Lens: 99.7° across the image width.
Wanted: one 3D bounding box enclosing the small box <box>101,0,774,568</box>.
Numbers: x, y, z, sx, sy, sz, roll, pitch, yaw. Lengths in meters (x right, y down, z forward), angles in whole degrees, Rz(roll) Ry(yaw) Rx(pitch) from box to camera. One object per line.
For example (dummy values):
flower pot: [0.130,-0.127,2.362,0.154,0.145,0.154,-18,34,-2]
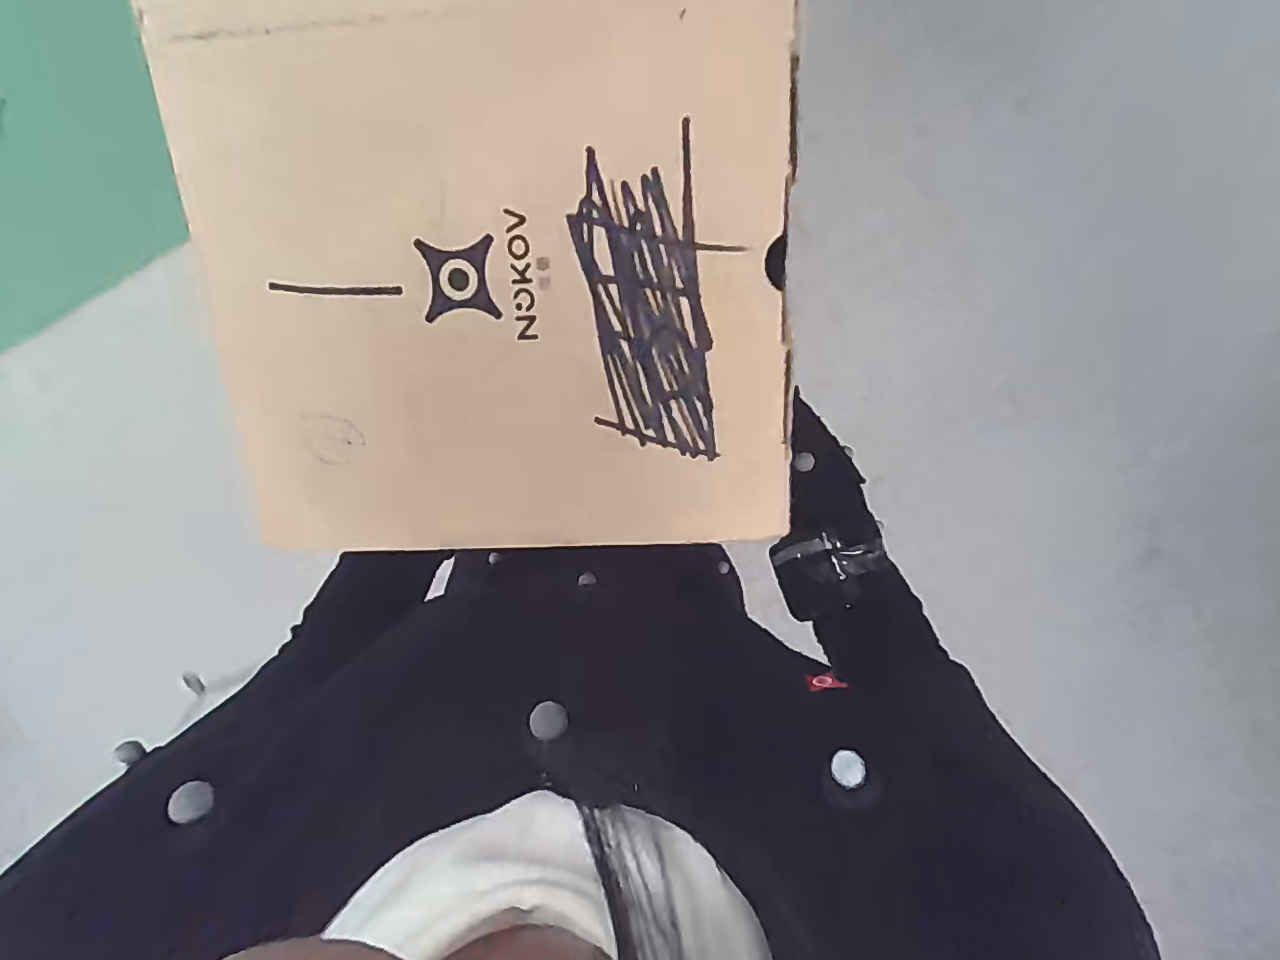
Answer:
small box: [-0.048,-0.078,0.239,0.179,0.176,0.168,-6,106,4]
